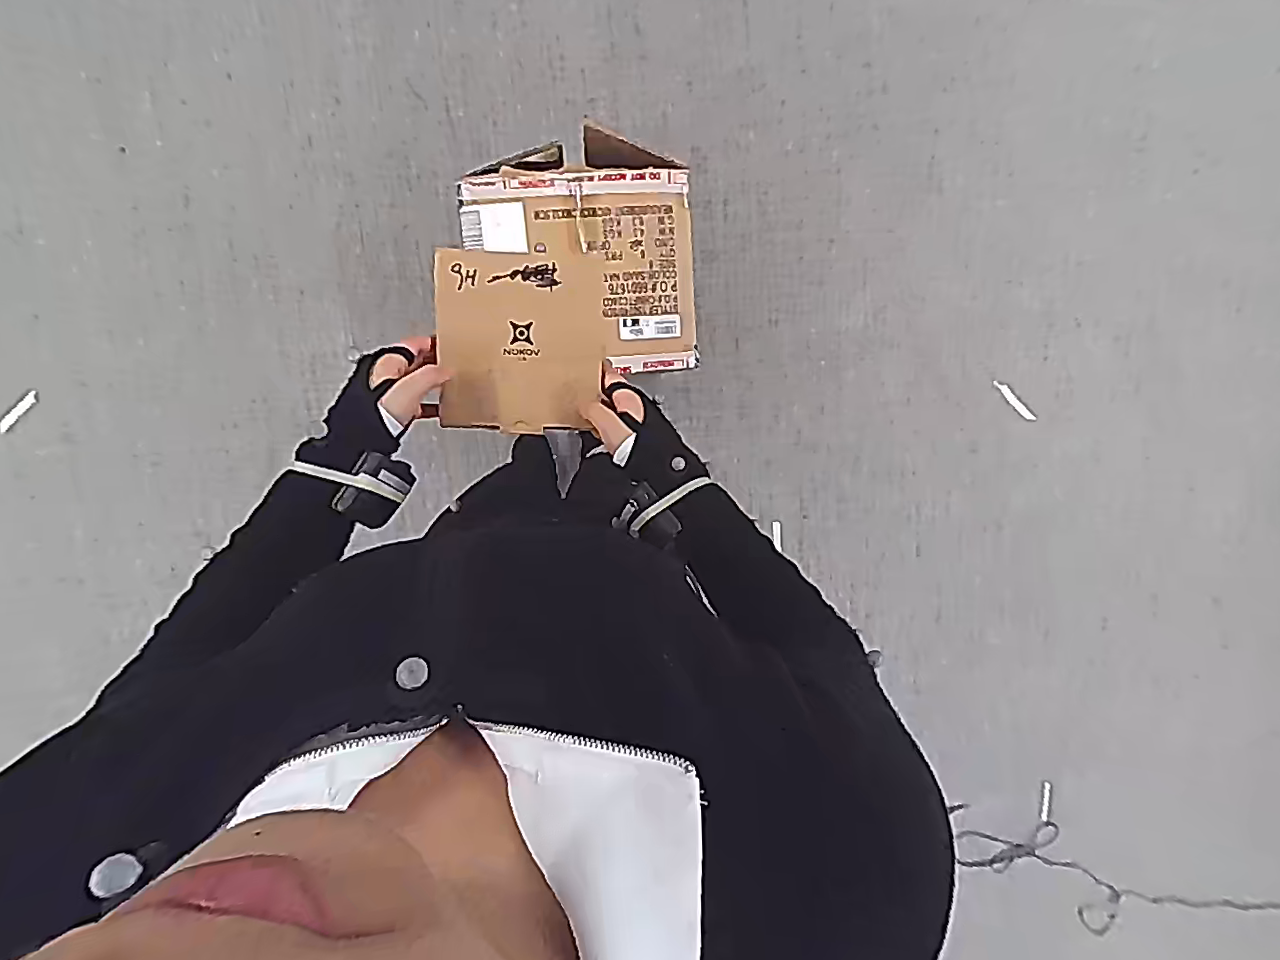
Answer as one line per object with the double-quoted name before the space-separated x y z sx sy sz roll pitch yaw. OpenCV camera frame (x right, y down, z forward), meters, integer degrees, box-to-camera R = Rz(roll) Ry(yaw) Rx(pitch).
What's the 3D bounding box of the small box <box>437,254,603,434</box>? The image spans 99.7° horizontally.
"small box" -0.127 -0.147 0.628 0.168 0.176 0.179 0 98 -5
